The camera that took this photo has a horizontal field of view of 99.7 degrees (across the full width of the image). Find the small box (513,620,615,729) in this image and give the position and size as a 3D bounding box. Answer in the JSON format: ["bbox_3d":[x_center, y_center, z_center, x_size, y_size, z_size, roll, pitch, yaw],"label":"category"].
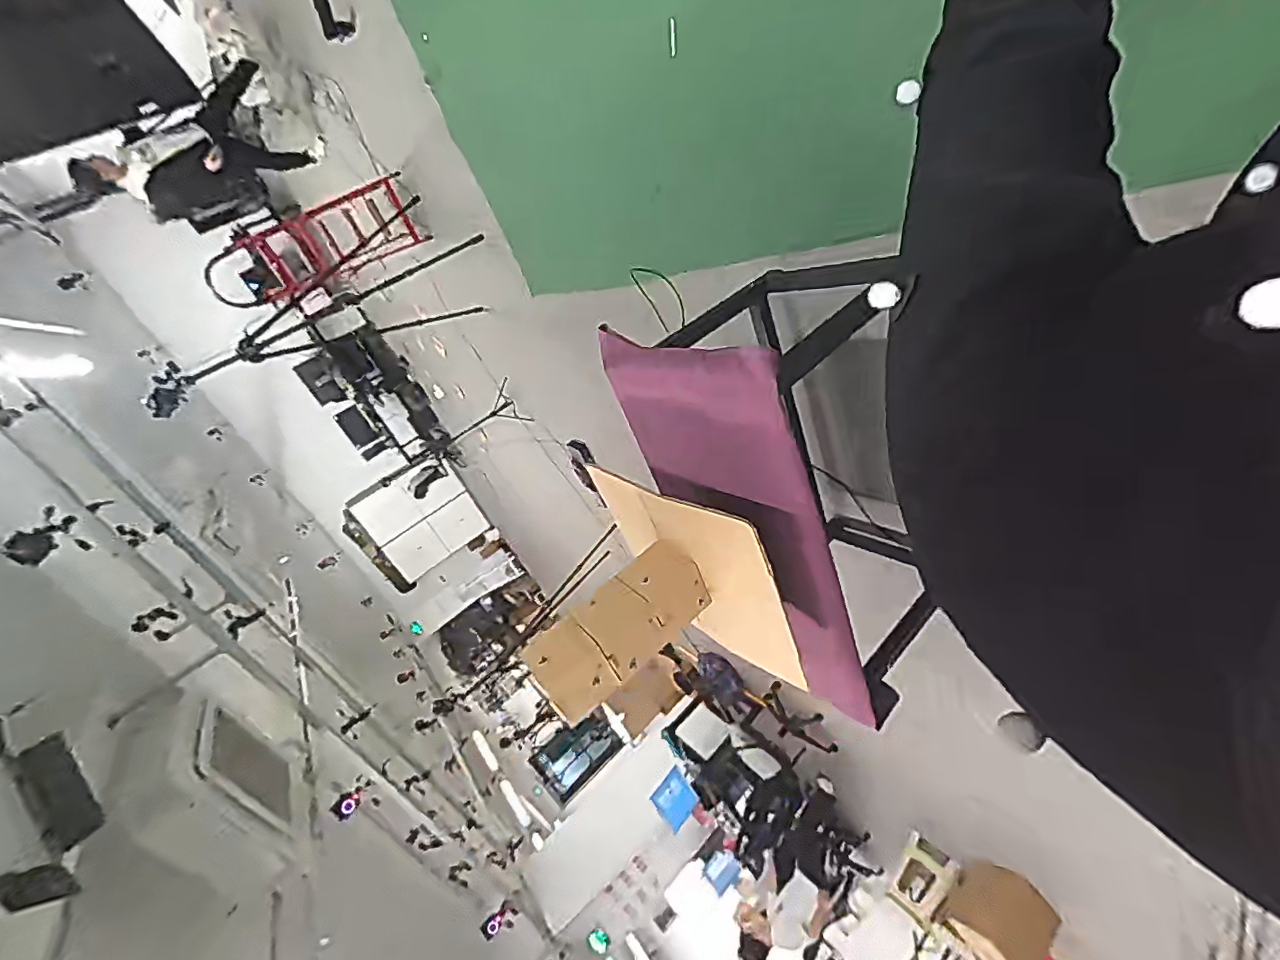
[{"bbox_3d":[-0.193,0.492,1.399,0.179,0.176,0.168,22,142,53],"label":"small box"}]

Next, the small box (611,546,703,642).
[{"bbox_3d":[0.055,0.310,1.514,0.179,0.176,0.168,18,140,53],"label":"small box"}]
